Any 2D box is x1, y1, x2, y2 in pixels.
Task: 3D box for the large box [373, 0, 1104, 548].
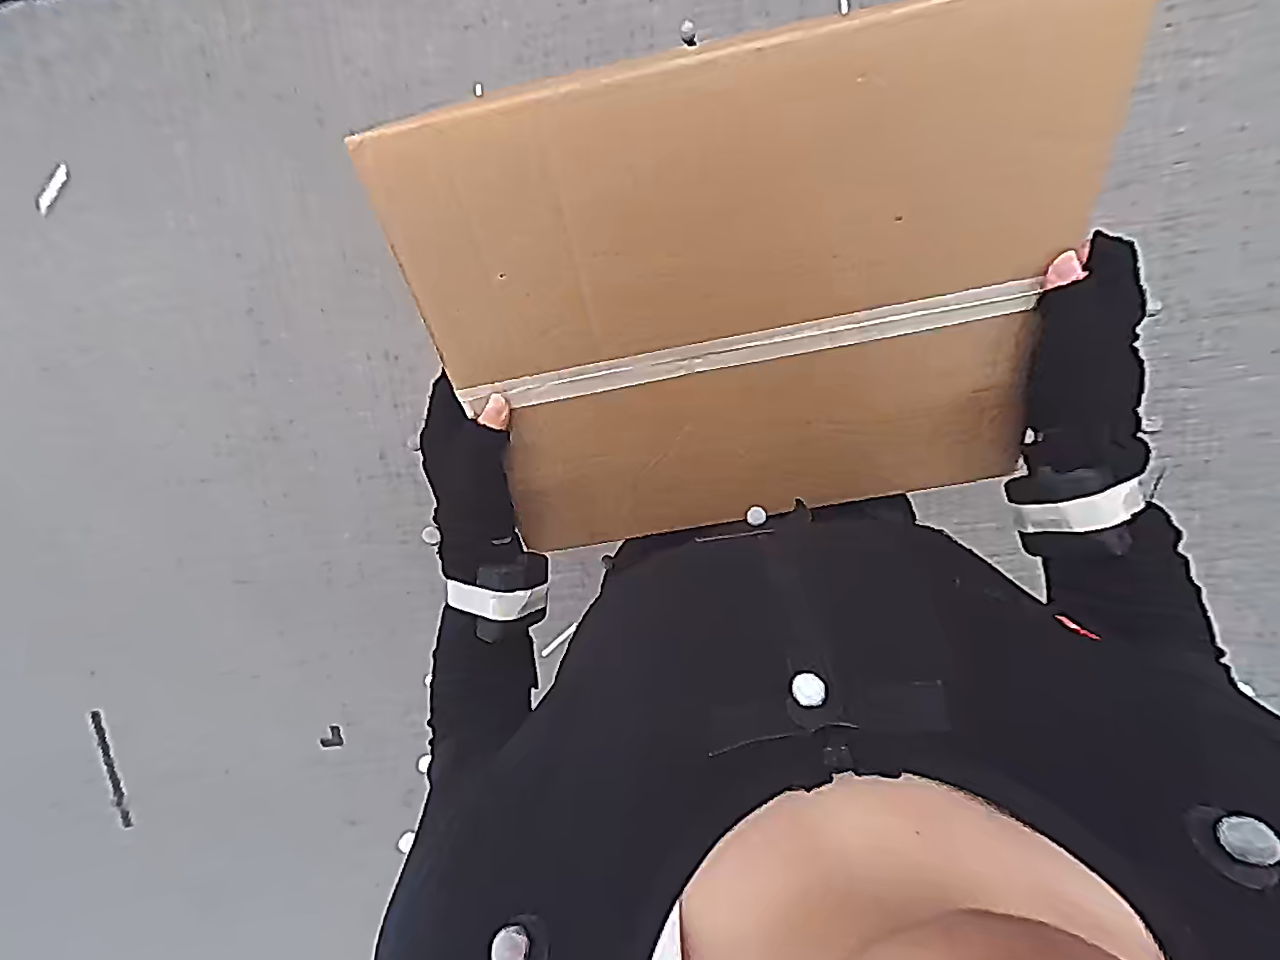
[{"bbox_3d":[0.063,-0.183,0.494,0.408,0.320,0.320,-11,128,5],"label":"large box"}]
